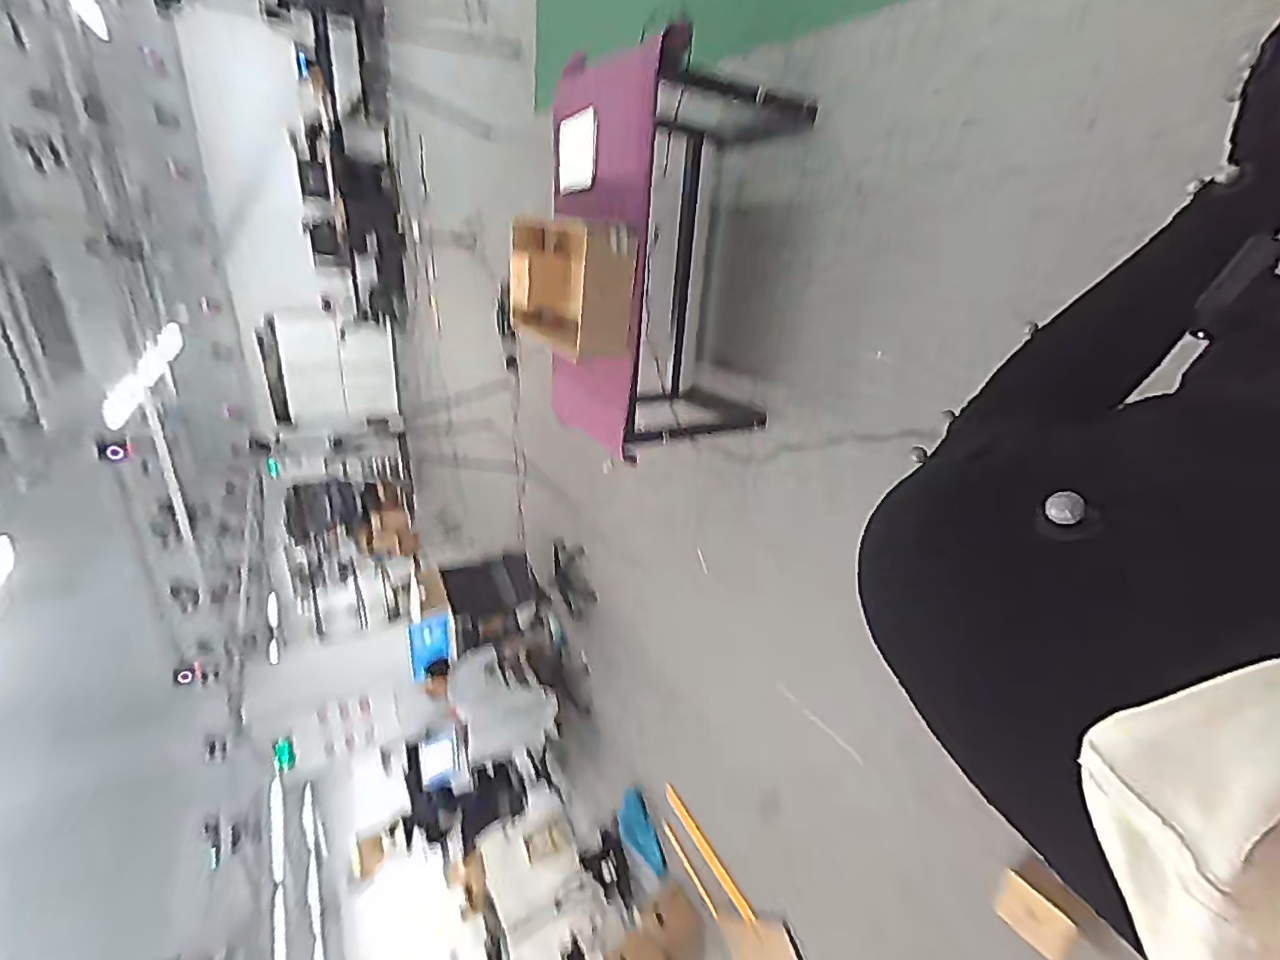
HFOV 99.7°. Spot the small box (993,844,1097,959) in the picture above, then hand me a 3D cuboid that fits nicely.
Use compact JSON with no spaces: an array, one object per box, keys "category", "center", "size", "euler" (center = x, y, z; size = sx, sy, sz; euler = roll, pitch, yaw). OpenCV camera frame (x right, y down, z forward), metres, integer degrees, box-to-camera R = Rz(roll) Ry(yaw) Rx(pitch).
[{"category":"small box","center":[1.156,1.193,1.540],"size":[0.168,0.176,0.179],"euler":[33,125,52]}]

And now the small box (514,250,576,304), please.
[{"category":"small box","center":[-0.352,-0.745,1.986],"size":[0.179,0.176,0.168],"euler":[34,125,49]}]
